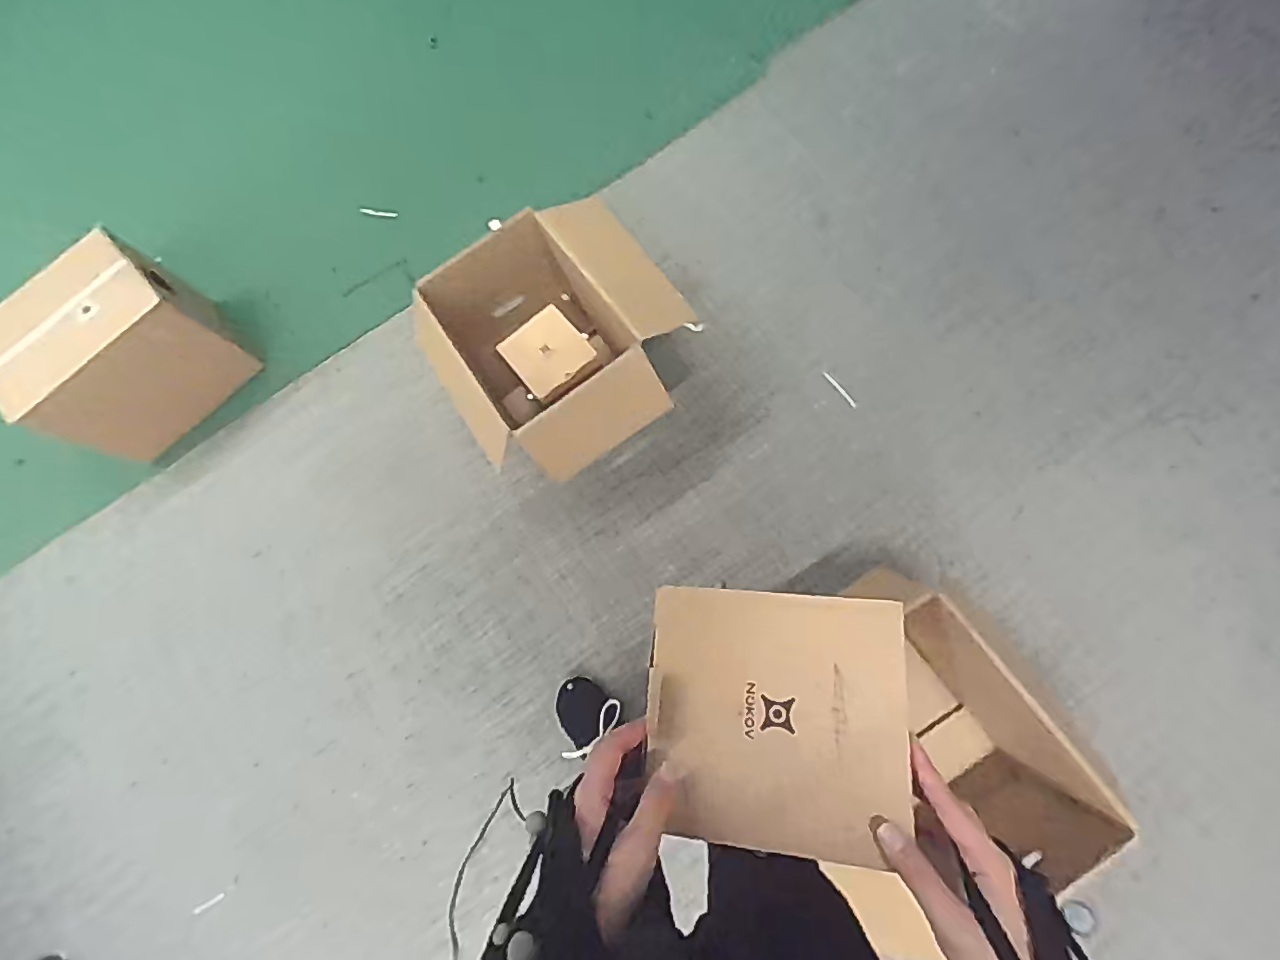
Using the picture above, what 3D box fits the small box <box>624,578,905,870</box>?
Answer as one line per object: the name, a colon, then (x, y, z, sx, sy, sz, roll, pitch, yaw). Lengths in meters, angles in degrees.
small box: (0.094, 0.177, 0.436, 0.179, 0.176, 0.168, 2, 73, 10)
